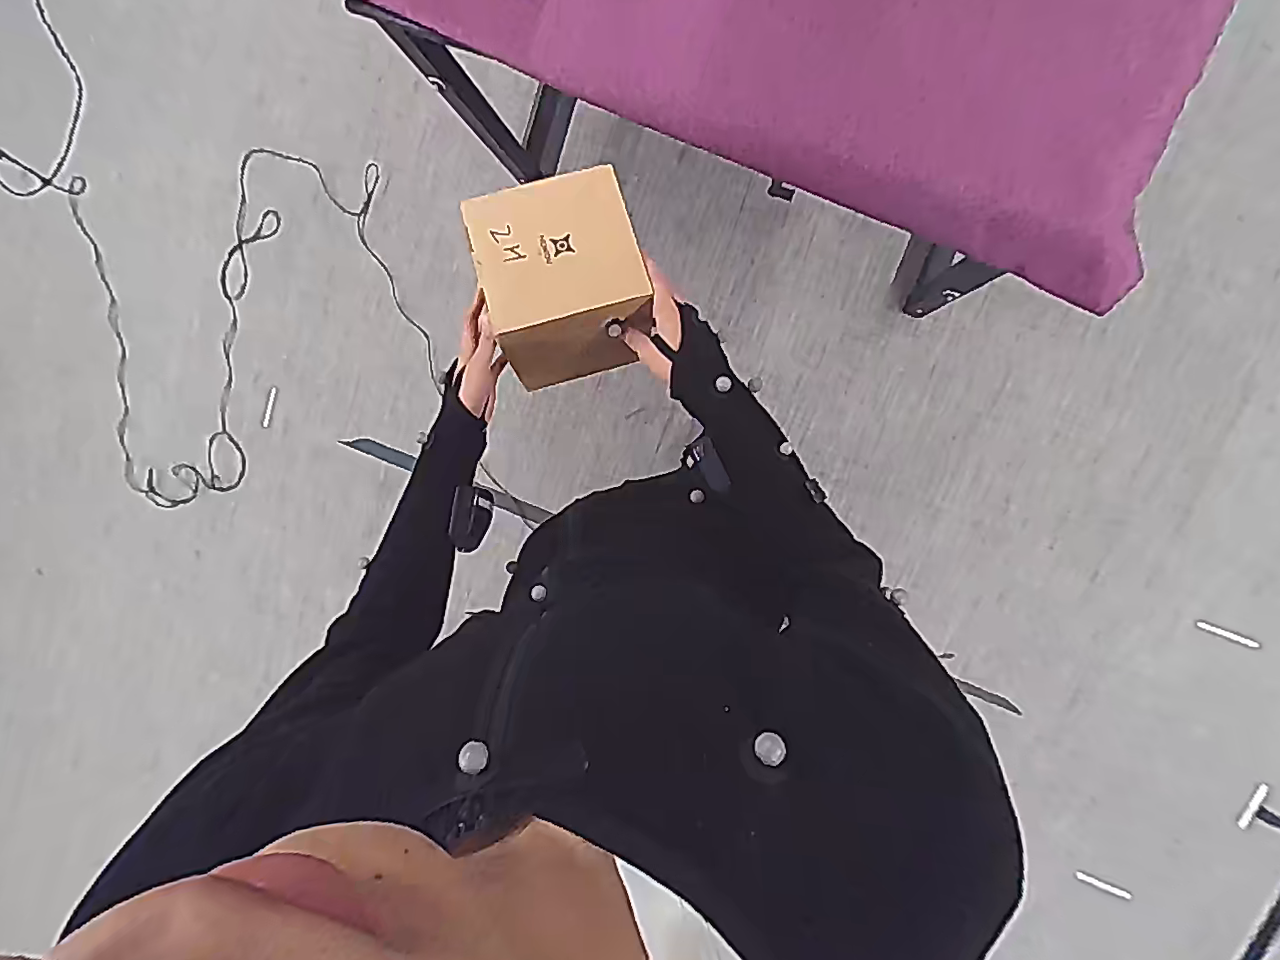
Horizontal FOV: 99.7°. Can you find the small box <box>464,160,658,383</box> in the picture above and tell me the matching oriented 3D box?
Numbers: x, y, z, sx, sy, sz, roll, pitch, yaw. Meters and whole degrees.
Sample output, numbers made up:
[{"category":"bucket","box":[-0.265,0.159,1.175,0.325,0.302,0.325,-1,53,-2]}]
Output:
[{"category":"small box","box":[-0.086,-0.236,0.650,0.179,0.176,0.168,-16,80,-2]}]
